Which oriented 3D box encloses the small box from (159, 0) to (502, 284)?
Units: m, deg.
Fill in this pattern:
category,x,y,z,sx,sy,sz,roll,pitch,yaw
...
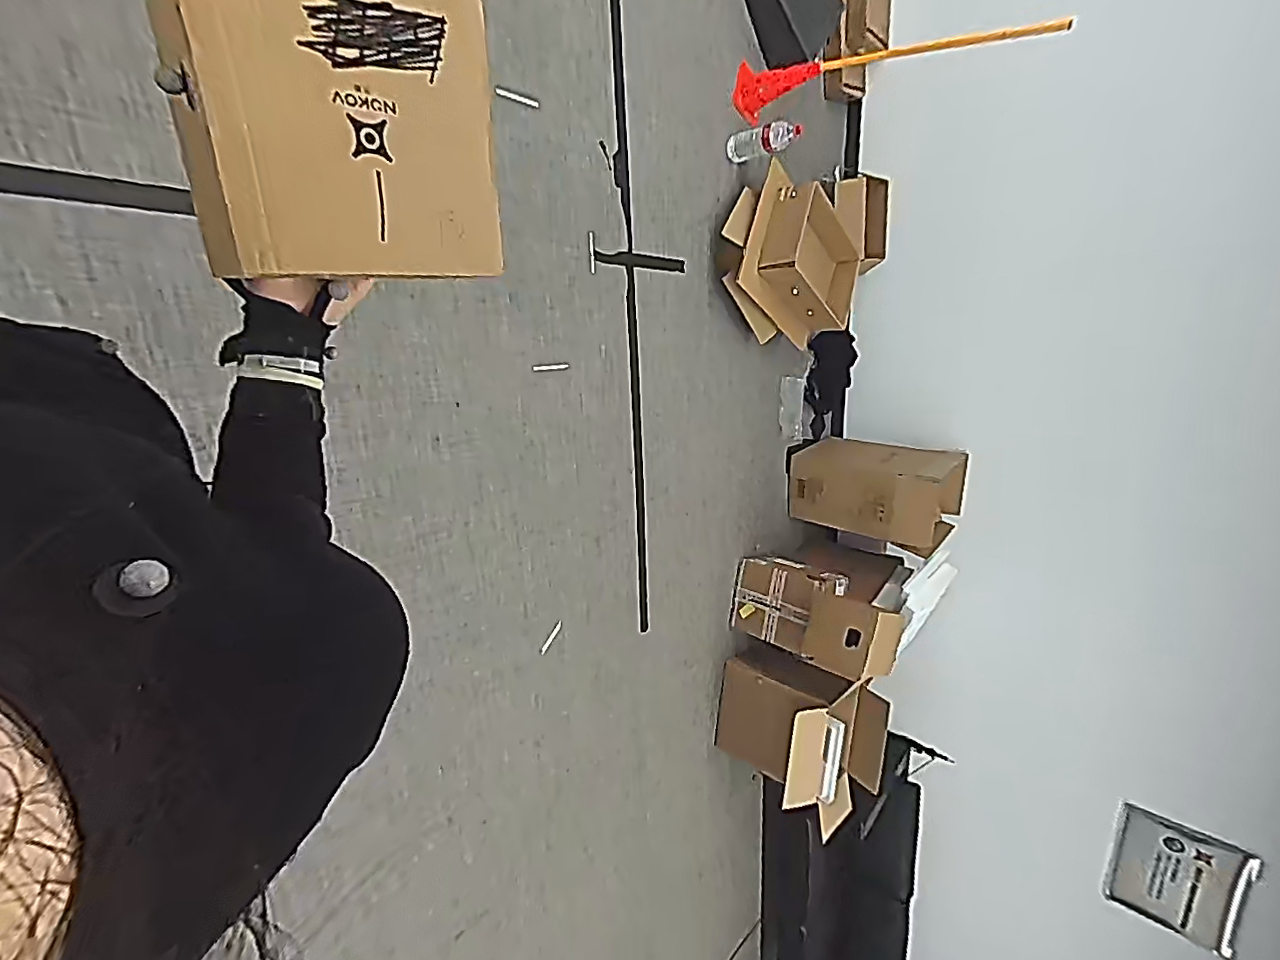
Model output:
category,x,y,z,sx,sy,sz,roll,pitch,yaw
small box,-0.220,-0.237,0.392,0.168,0.176,0.179,-16,116,-39
